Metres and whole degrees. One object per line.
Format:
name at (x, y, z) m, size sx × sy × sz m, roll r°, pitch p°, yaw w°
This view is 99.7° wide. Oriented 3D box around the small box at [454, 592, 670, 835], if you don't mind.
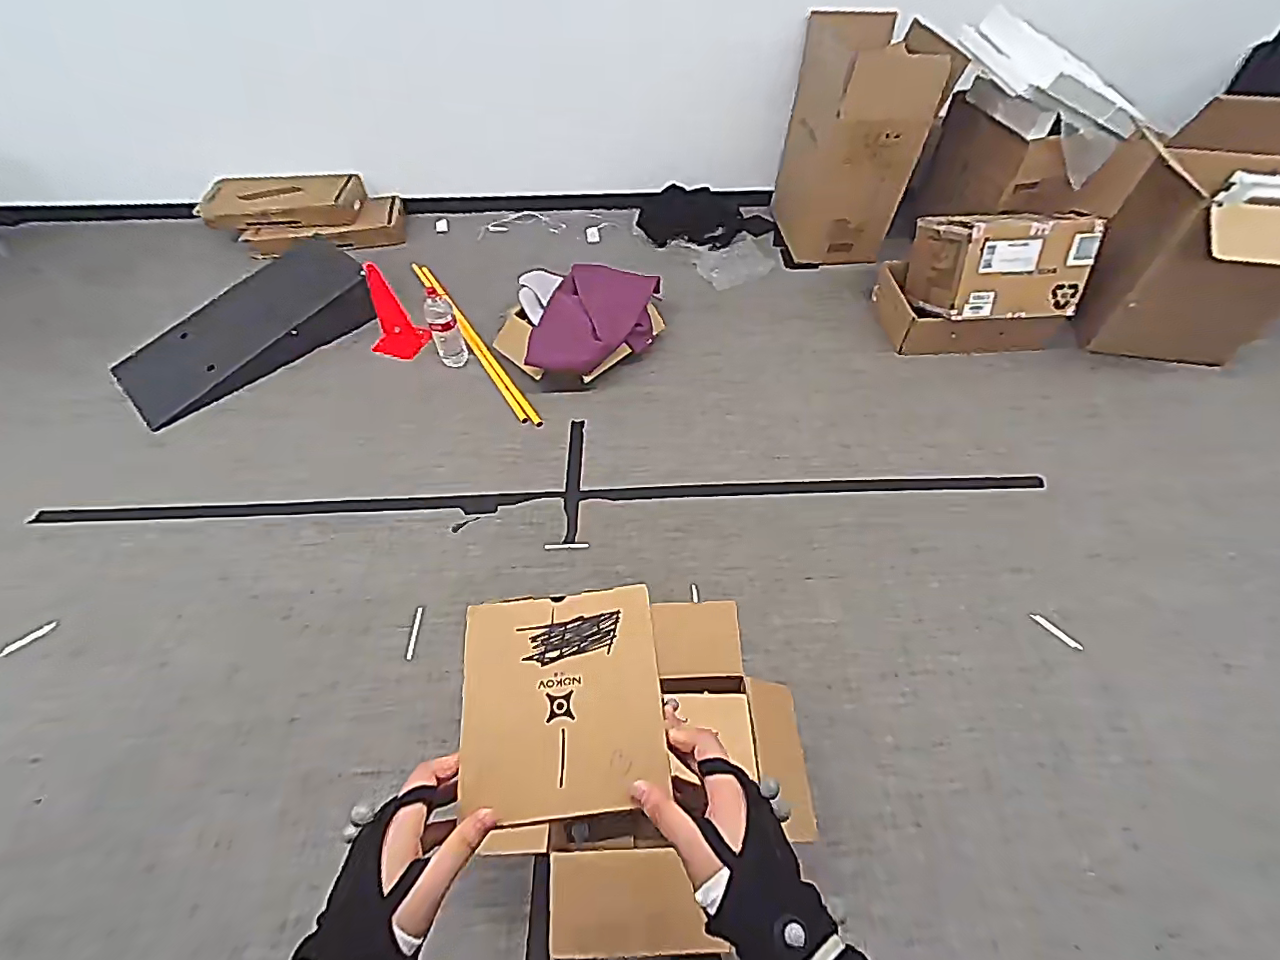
small box at (-0.065, 0.227, 0.518) m, size 0.168 × 0.176 × 0.179 m, roll -7°, pitch 59°, yaw -1°
